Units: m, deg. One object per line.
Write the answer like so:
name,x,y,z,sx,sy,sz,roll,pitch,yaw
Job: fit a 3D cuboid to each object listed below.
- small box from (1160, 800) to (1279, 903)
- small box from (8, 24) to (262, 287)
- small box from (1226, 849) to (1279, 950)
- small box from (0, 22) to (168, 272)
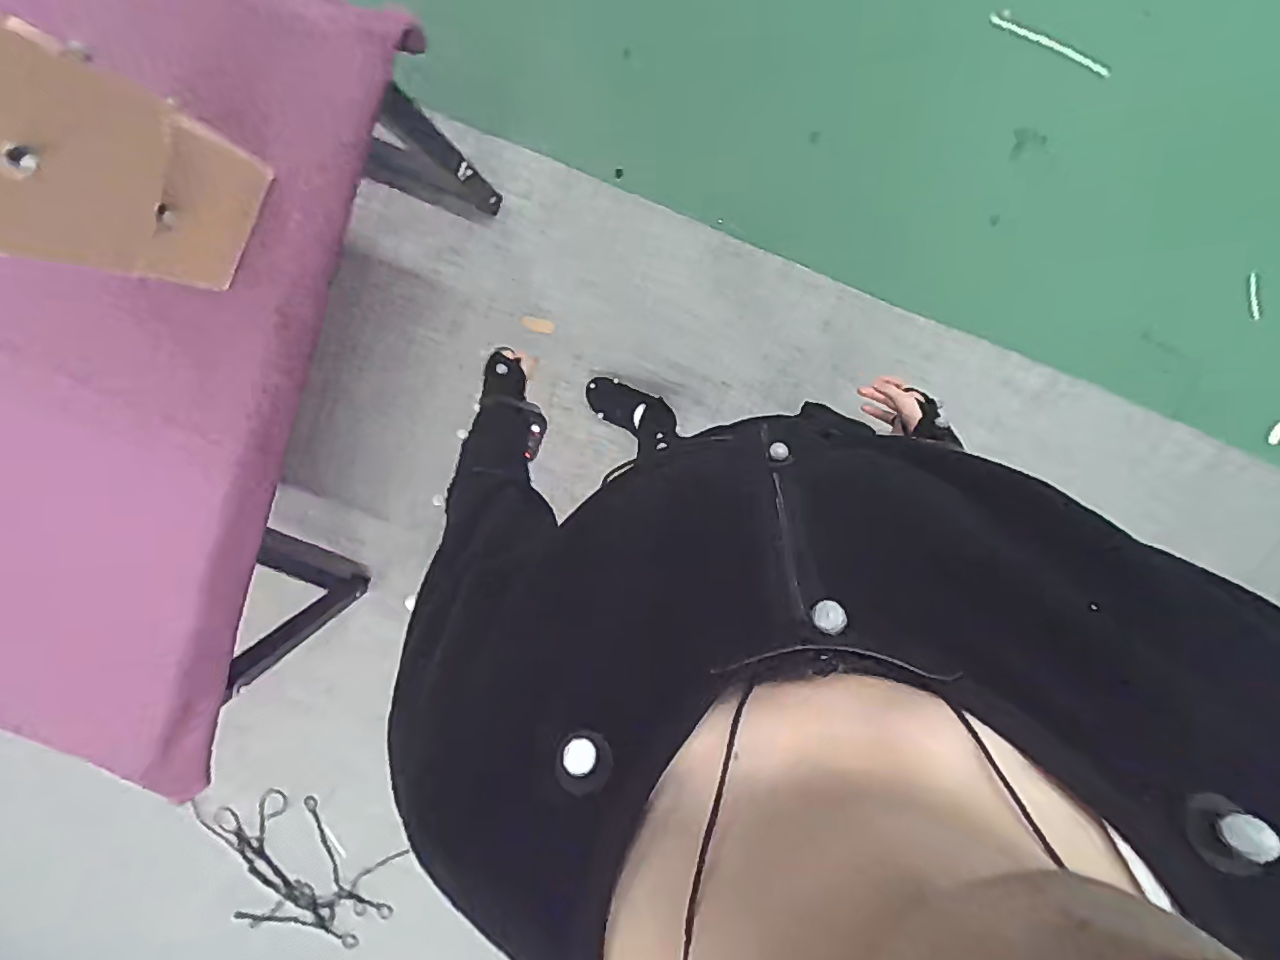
small box,1.529,0.972,1.402,0.179,0.176,0.168,19,102,-2
small box,-0.590,-0.351,0.628,0.168,0.176,0.179,32,102,-4
small box,1.533,0.999,1.240,0.168,0.176,0.179,20,102,-3
small box,-0.571,-0.304,0.470,0.168,0.176,0.179,26,102,-3
